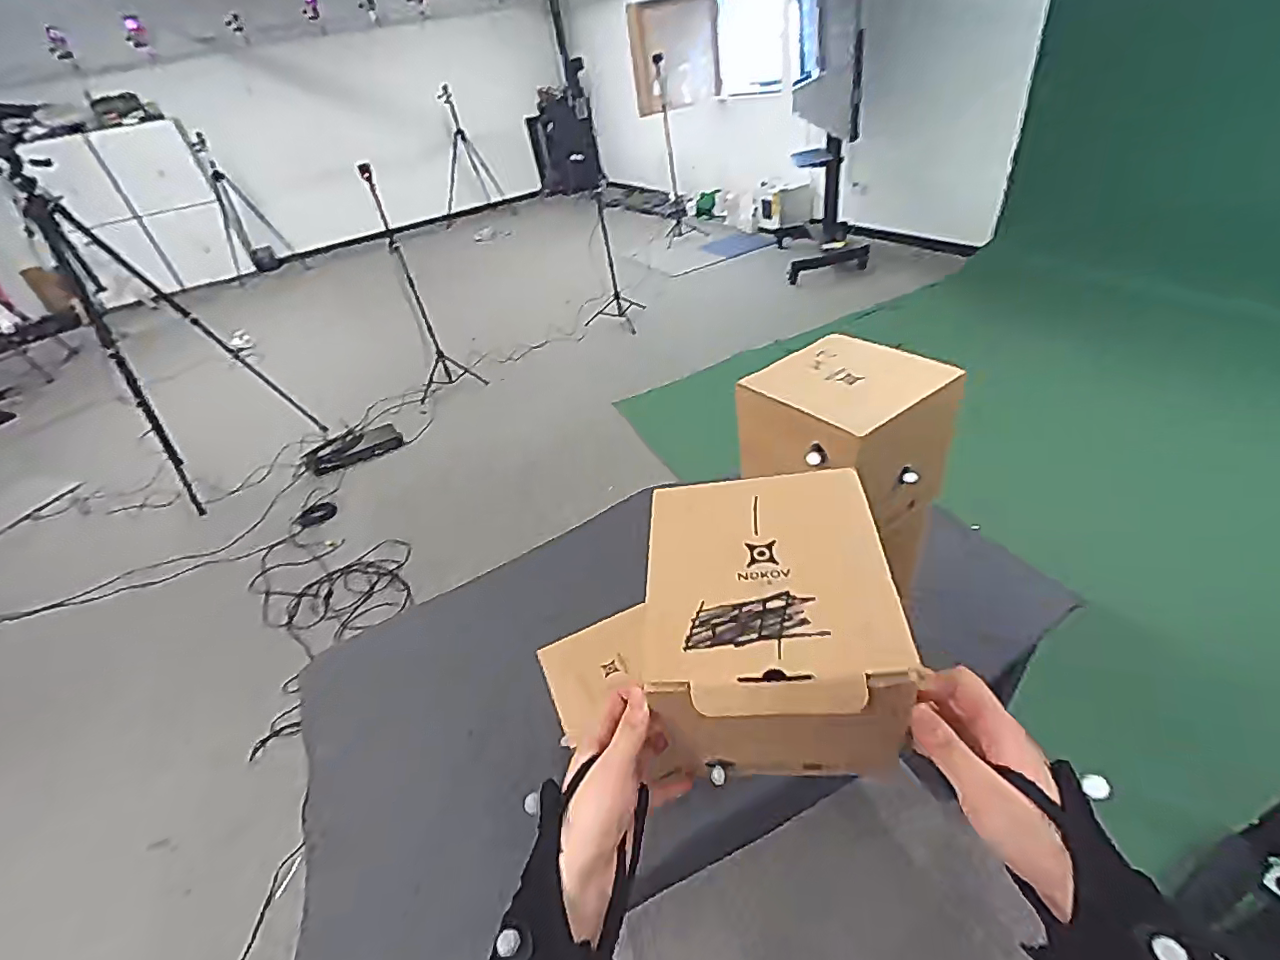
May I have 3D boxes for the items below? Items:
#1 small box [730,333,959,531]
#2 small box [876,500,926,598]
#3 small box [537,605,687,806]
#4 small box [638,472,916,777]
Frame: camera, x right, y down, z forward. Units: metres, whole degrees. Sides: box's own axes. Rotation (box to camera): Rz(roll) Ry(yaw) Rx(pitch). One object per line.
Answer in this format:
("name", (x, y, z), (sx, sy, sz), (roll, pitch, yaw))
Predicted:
("small box", (0.230, -0.047, 0.632), (0.168, 0.176, 0.179), (-29, 39, -21))
("small box", (0.248, 0.083, 0.735), (0.179, 0.176, 0.168), (-24, 38, -14))
("small box", (-0.025, 0.320, 0.775), (0.179, 0.176, 0.168), (-23, 37, -13))
("small box", (0.102, 0.120, 0.428), (0.168, 0.176, 0.179), (-7, 45, 12))
